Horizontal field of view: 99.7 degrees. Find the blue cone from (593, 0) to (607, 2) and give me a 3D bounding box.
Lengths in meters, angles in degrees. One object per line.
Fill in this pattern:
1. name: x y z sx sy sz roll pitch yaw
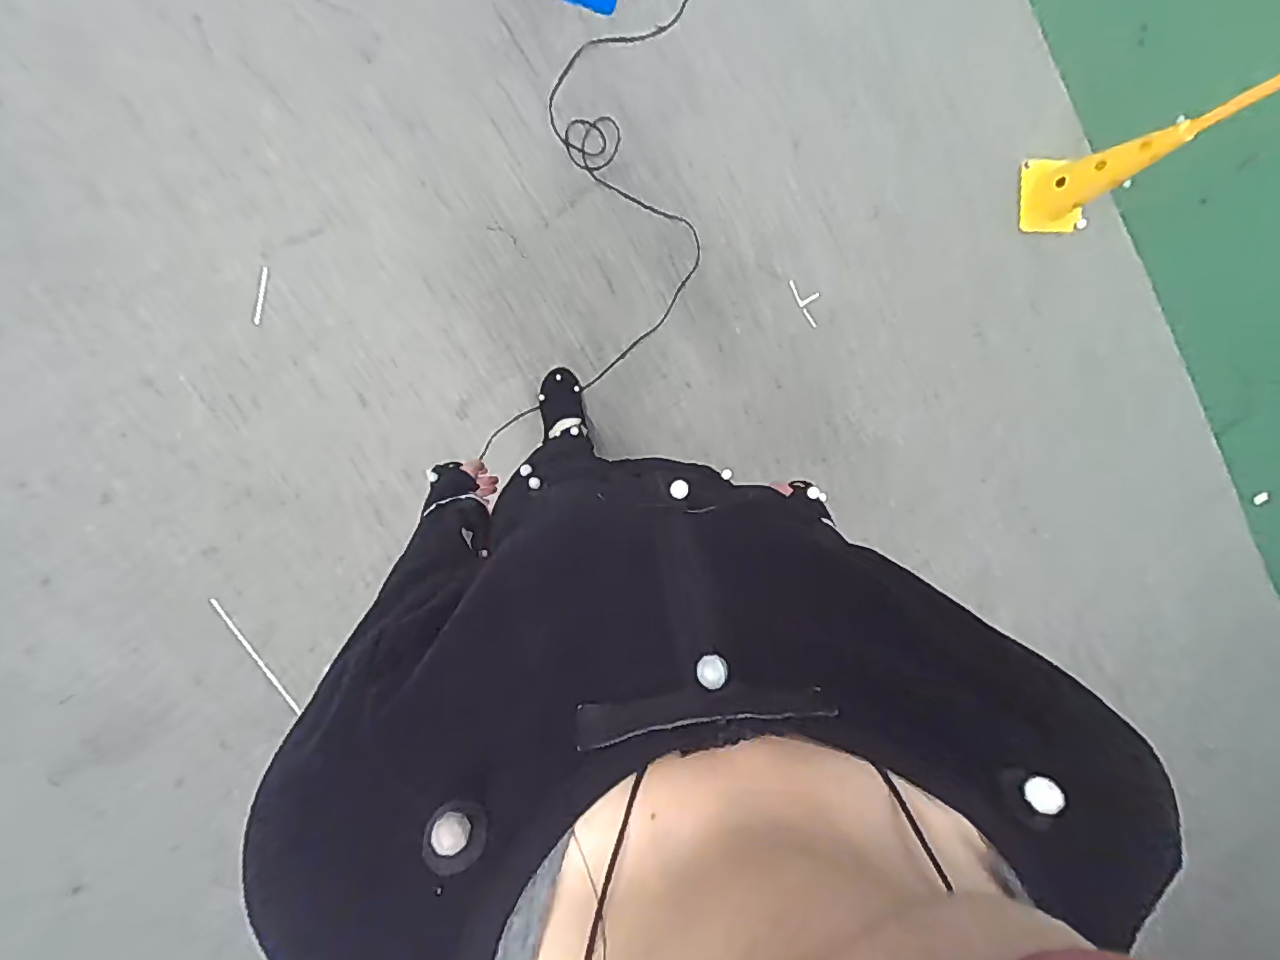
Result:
1. blue cone: -0.123 -1.283 1.177 0.193 0.380 0.192 13 94 -7
